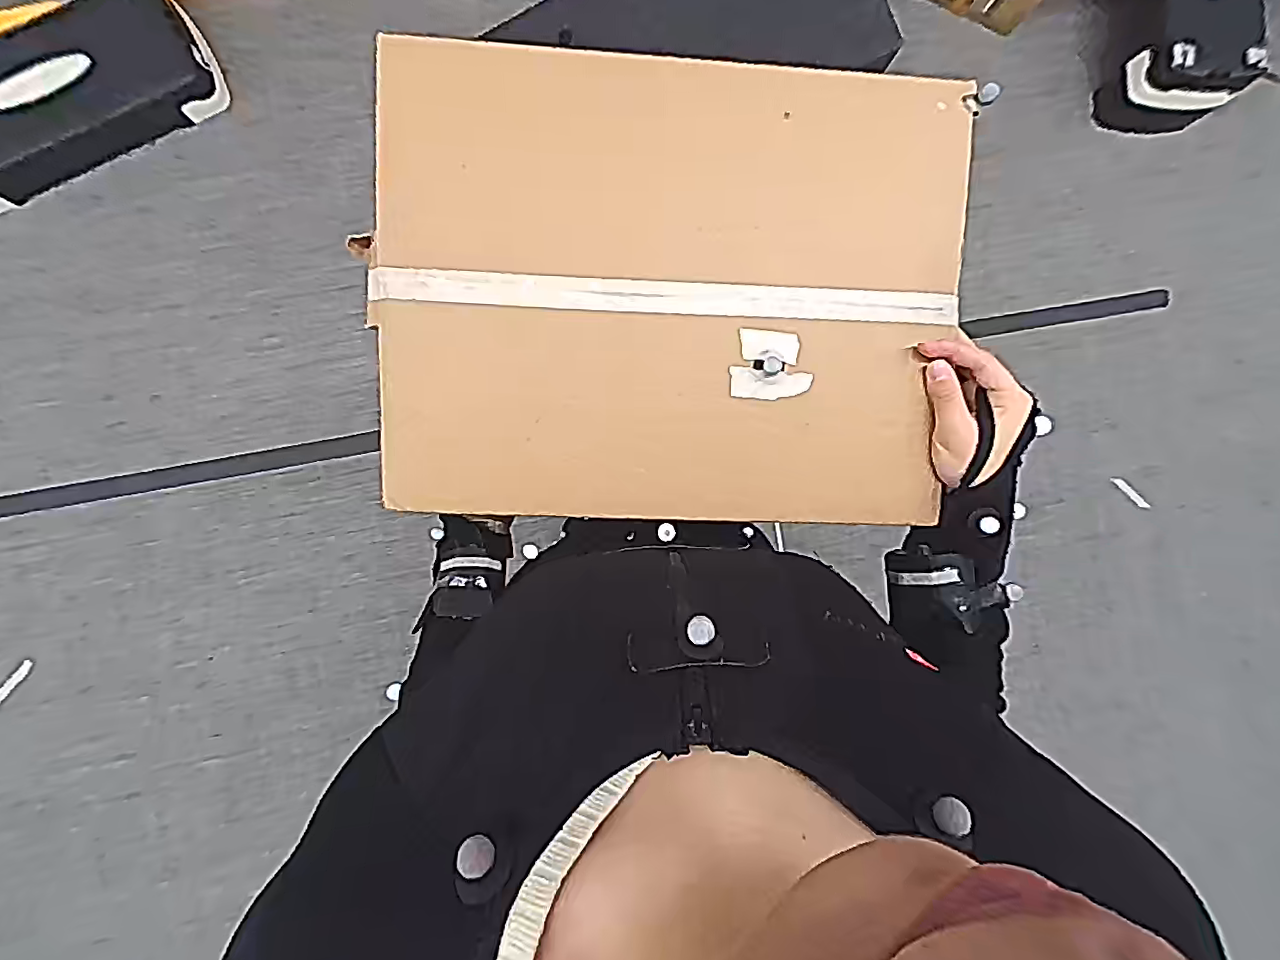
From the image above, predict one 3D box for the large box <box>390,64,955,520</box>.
[{"bbox_3d":[0.016,-0.138,0.535,0.408,0.320,0.320,1,96,-5],"label":"large box"}]
